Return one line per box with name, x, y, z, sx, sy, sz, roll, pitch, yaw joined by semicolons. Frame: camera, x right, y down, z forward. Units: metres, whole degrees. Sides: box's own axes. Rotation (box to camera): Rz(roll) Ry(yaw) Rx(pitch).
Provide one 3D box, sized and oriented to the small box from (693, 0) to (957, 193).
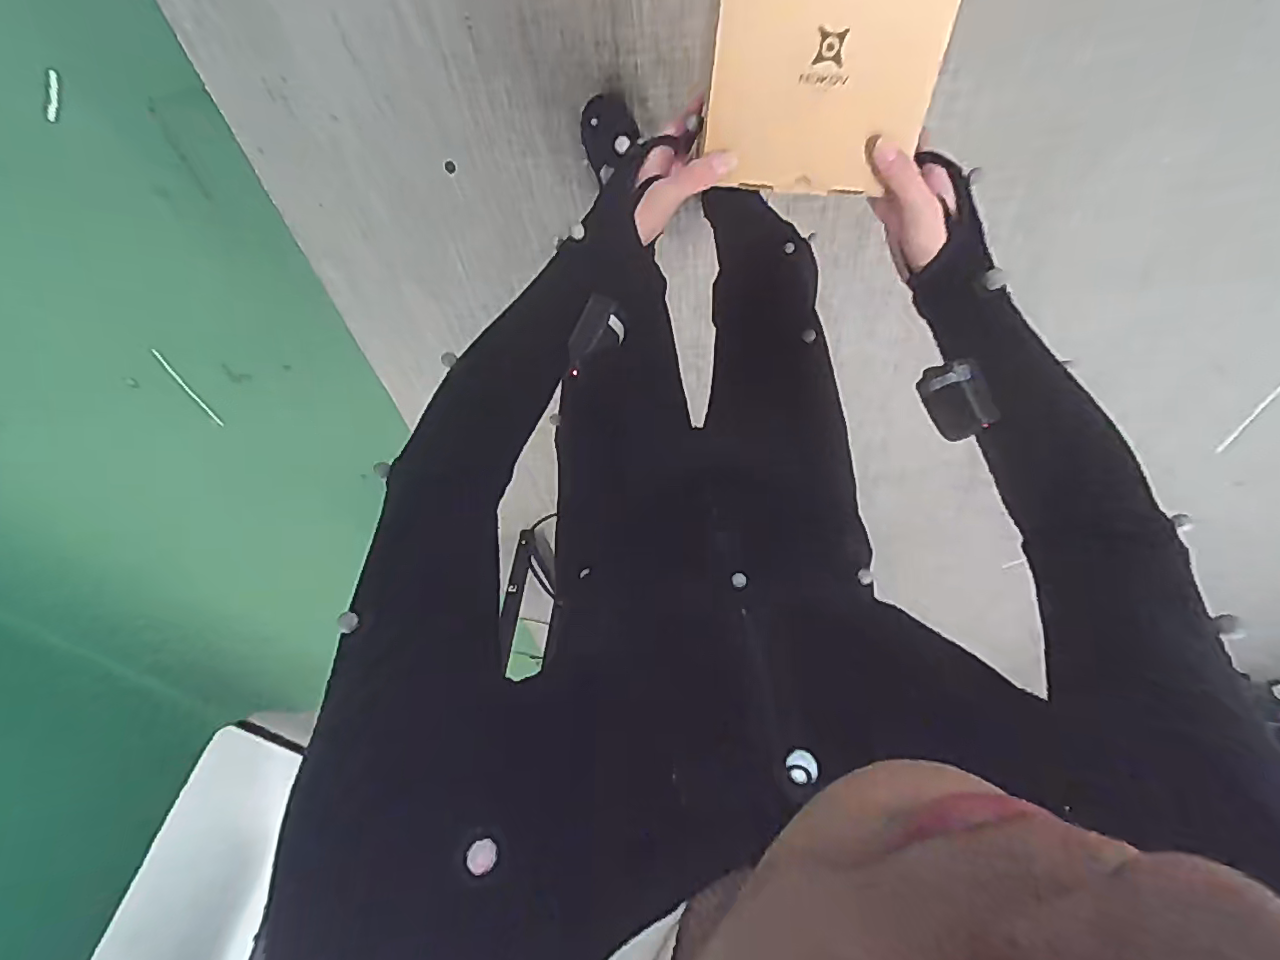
small box;0.135;-0.353;0.451;0.168;0.176;0.179;4;126;1
